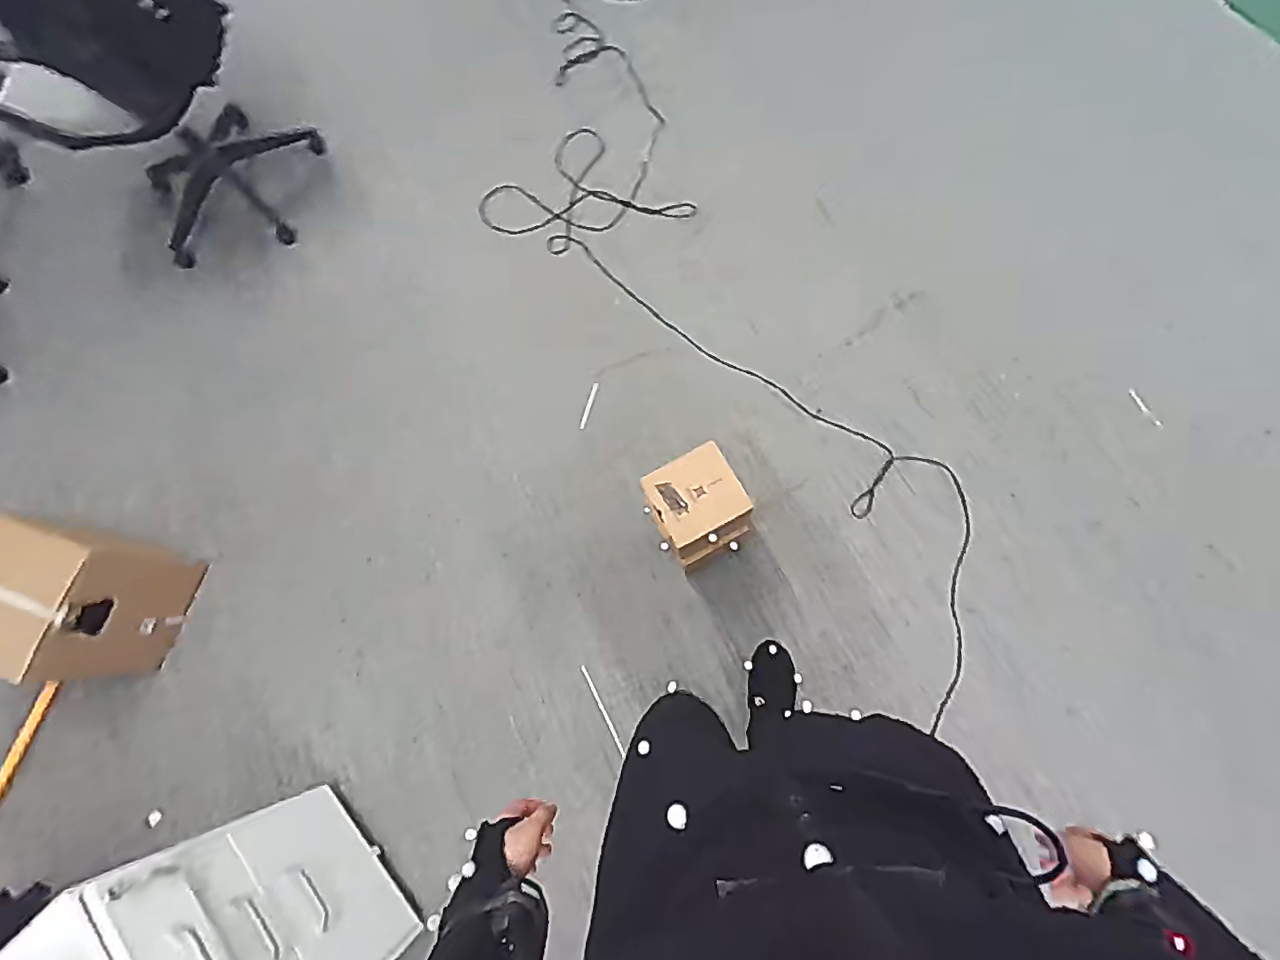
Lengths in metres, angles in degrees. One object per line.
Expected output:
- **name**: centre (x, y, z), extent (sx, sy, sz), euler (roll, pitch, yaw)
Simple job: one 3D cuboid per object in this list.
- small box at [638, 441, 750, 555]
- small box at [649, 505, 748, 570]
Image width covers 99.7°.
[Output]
- **small box**: centre (0.116, 0.047, 1.161), extent (0.179, 0.176, 0.168), euler (-29, 74, -2)
- **small box**: centre (0.139, 0.104, 1.314), extent (0.179, 0.176, 0.168), euler (-30, 73, -1)
